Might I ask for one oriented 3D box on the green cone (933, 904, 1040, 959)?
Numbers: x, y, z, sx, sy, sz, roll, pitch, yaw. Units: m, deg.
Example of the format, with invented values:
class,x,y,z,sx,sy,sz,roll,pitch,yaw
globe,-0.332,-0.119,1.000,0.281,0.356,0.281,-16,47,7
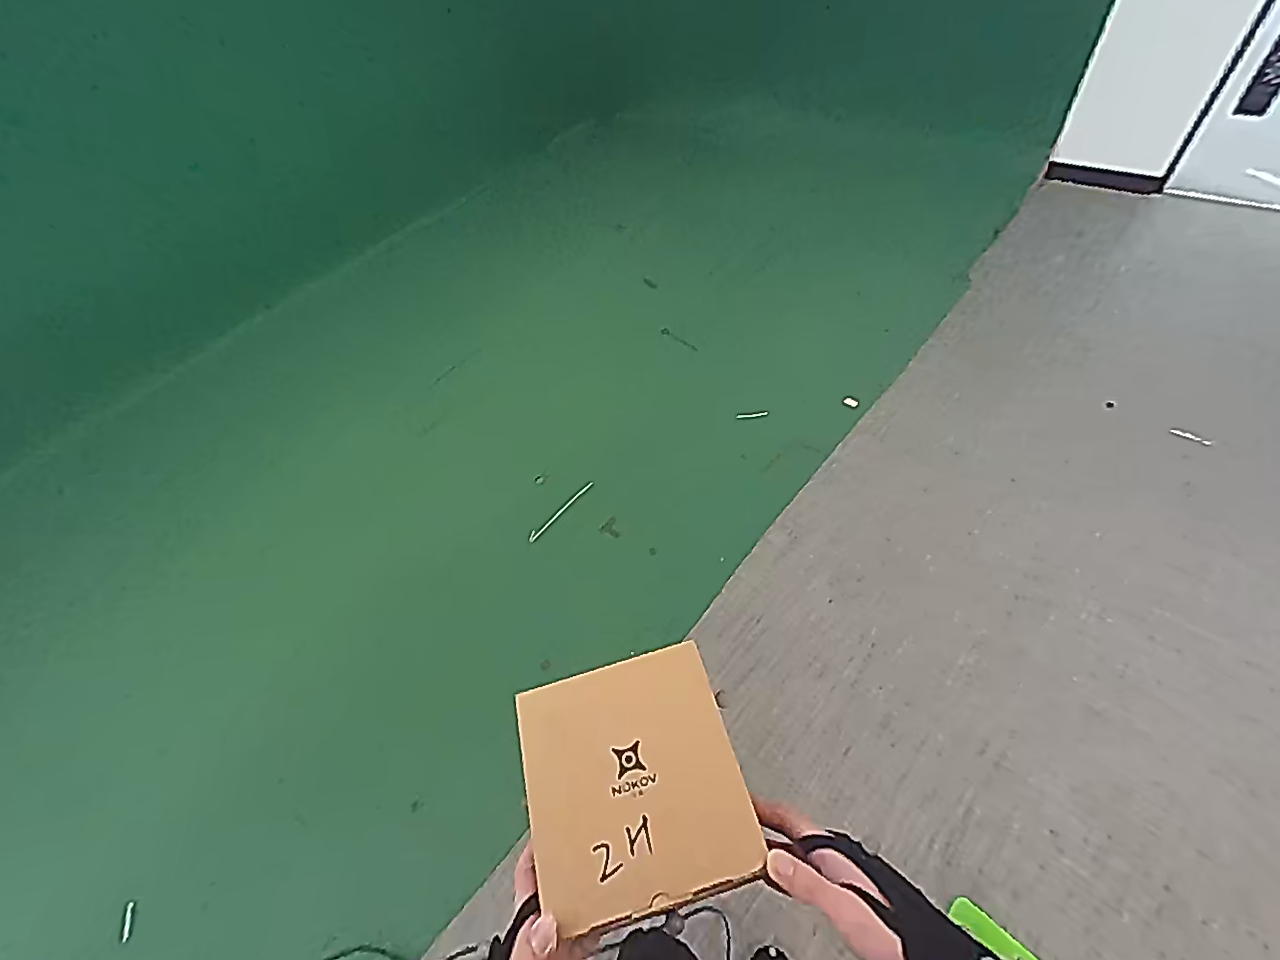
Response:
class,x,y,z,sx,sy,sz,roll,pitch,yaw
green cone,0.675,0.914,0.948,0.200,0.368,0.202,33,67,31
